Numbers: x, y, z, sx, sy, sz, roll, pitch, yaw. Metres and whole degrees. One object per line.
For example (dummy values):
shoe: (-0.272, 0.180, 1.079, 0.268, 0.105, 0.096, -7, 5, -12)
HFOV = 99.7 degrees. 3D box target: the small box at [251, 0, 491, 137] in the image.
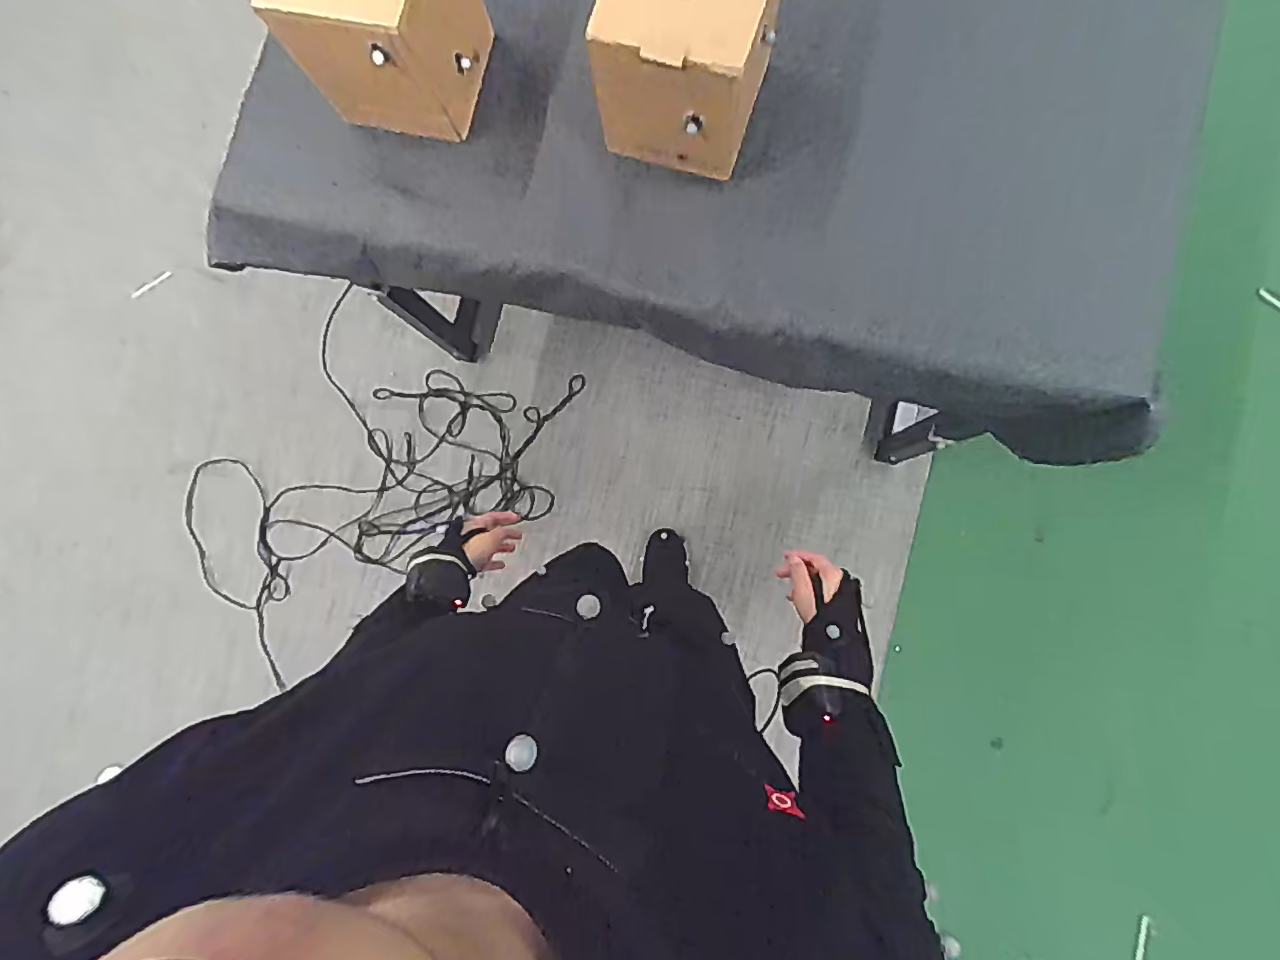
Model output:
small box: (-0.306, -0.552, 0.652, 0.179, 0.176, 0.168, 12, 86, 5)

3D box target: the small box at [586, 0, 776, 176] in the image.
small box: (0.054, -0.489, 0.616, 0.168, 0.176, 0.179, 18, 85, 5)
